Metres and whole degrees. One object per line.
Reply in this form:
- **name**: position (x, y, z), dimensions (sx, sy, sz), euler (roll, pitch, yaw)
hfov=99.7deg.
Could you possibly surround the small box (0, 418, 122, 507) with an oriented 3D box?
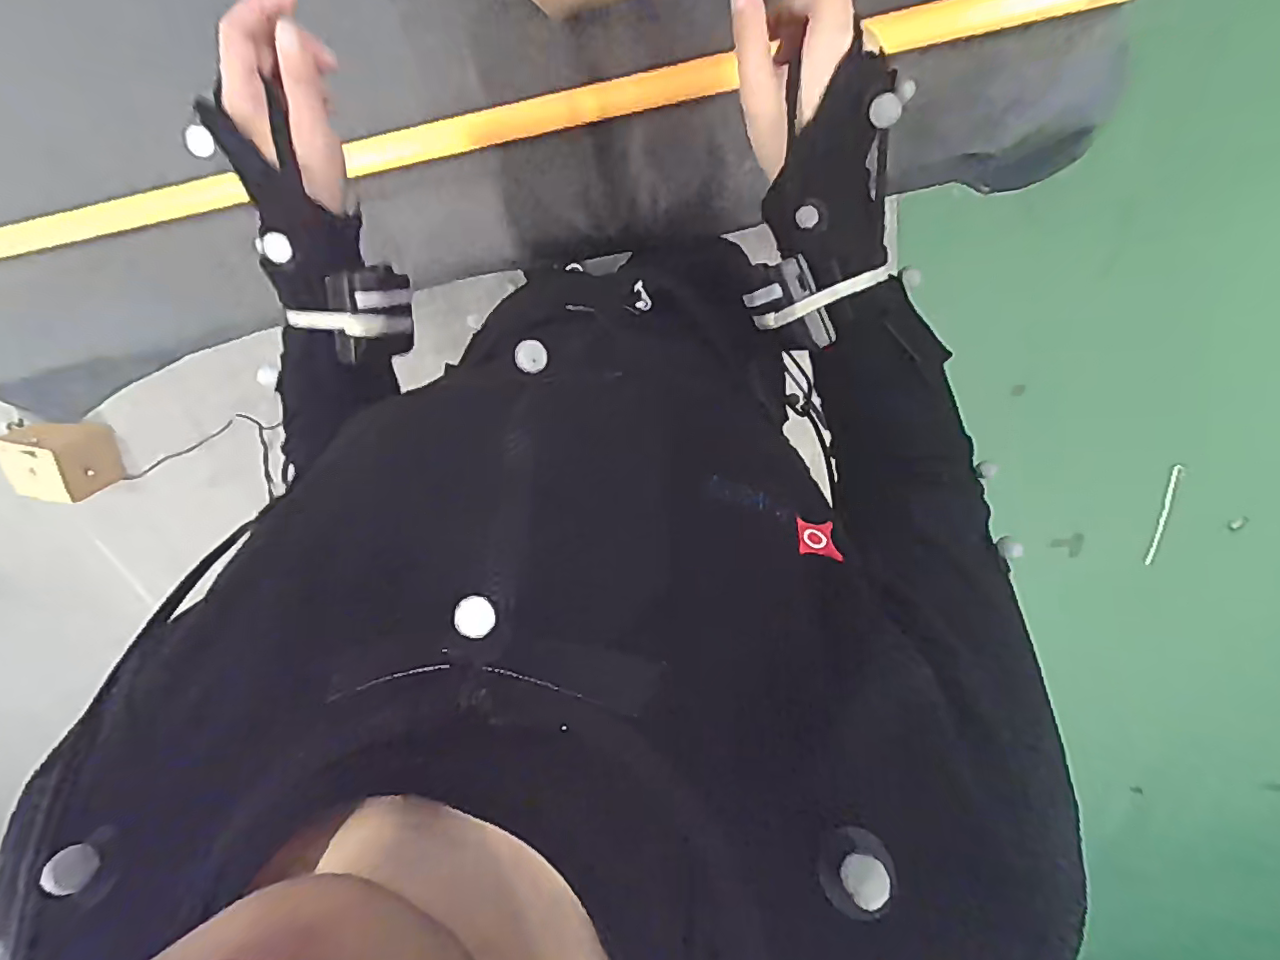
- **small box**: position (-1.634, -0.053, 1.528), dimensions (0.168, 0.176, 0.179), euler (11, 120, 0)
